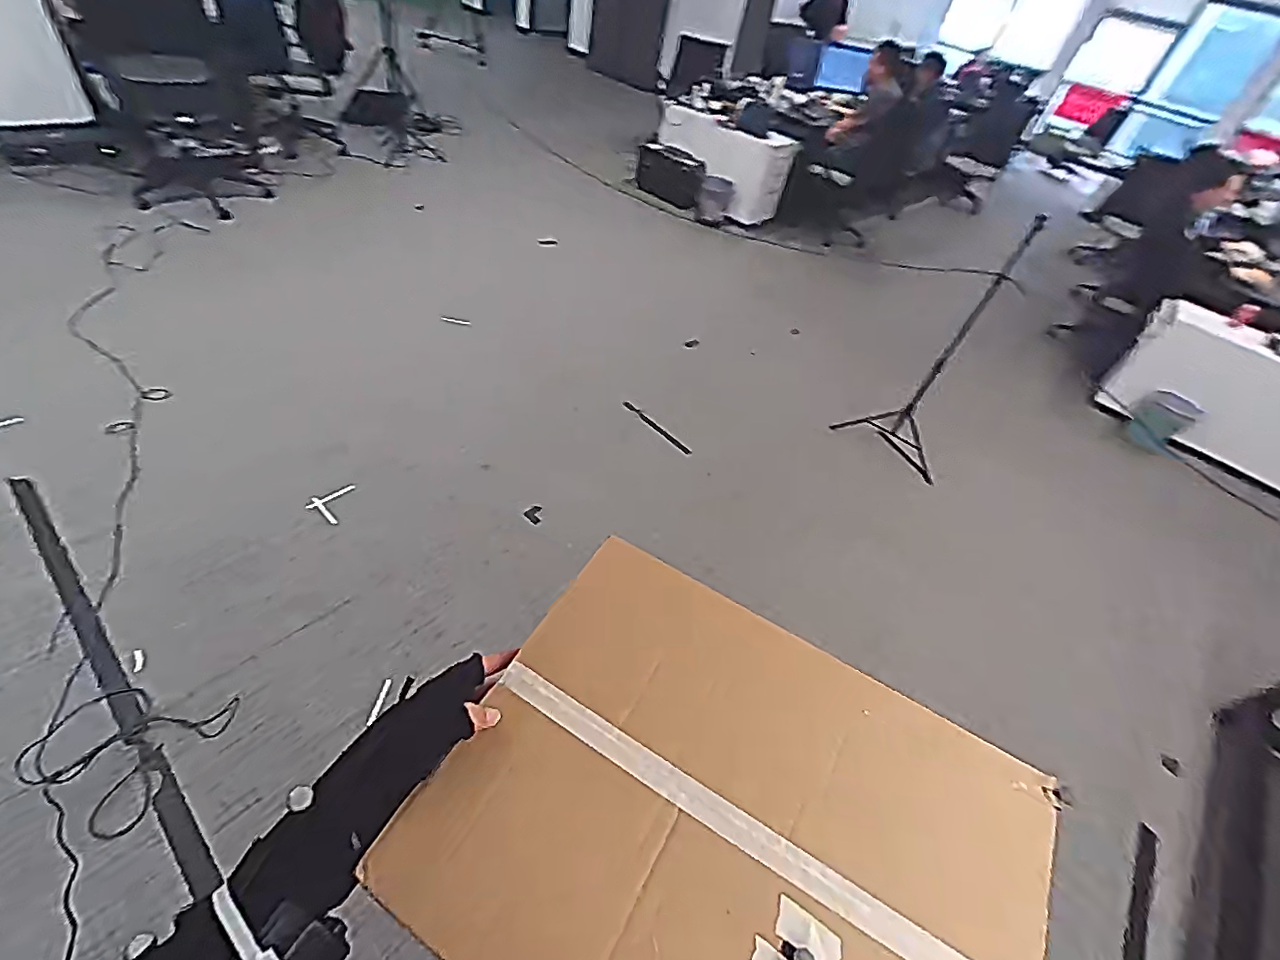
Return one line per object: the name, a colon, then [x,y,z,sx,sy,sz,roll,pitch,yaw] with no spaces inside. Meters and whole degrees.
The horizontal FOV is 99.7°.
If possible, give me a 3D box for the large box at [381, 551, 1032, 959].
large box: [0.055,0.342,0.512,0.408,0.320,0.320,27,54,16]
